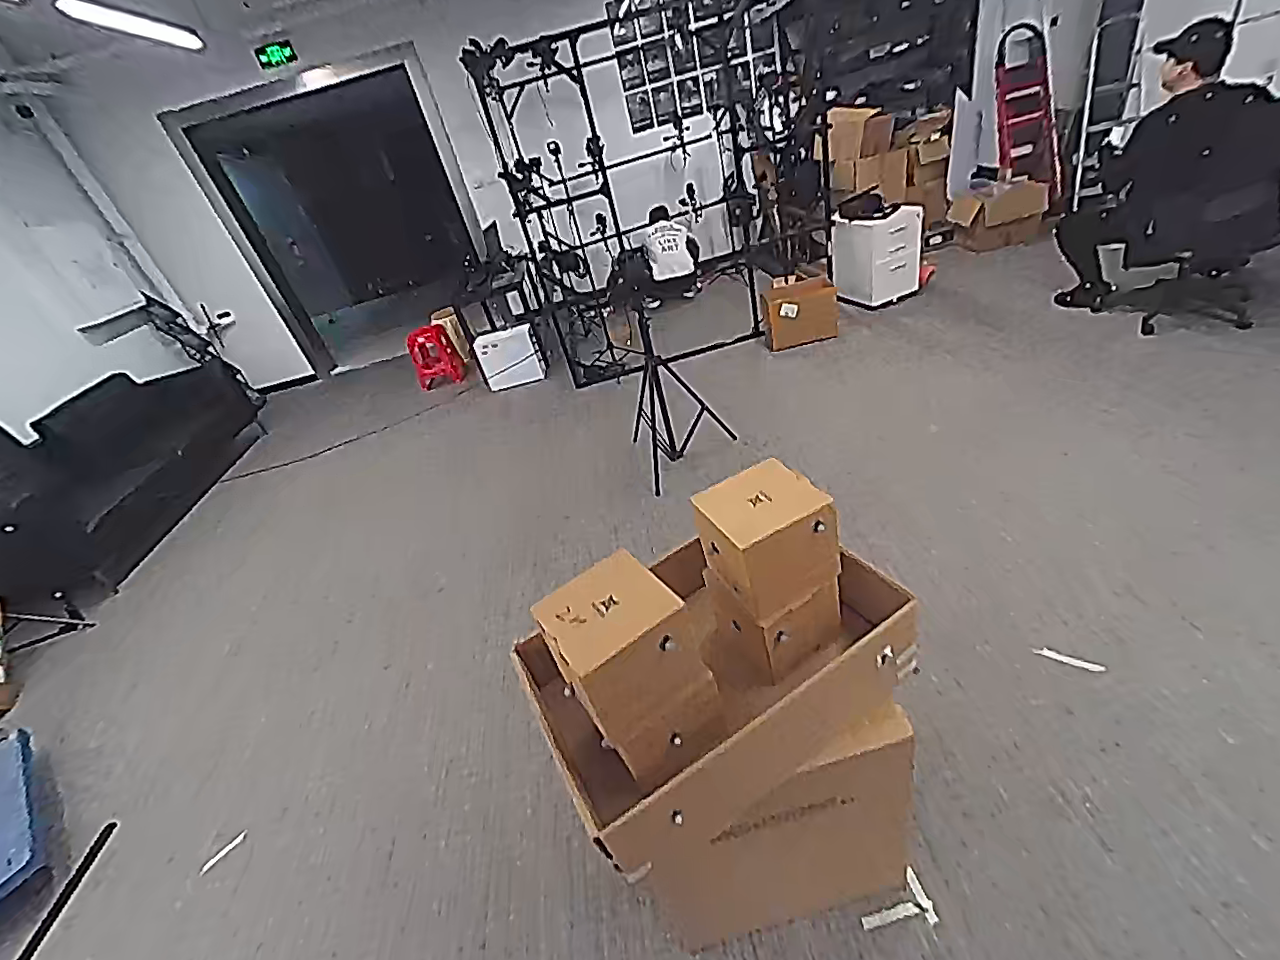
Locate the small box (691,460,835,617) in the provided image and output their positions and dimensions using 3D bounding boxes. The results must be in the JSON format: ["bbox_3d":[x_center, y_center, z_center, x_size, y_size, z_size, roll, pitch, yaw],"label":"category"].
[{"bbox_3d":[0.213,0.100,0.922,0.179,0.176,0.168,-26,35,-13],"label":"small box"}]

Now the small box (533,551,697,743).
[{"bbox_3d":[-0.030,0.247,0.813,0.179,0.176,0.168,-30,36,-20],"label":"small box"}]
